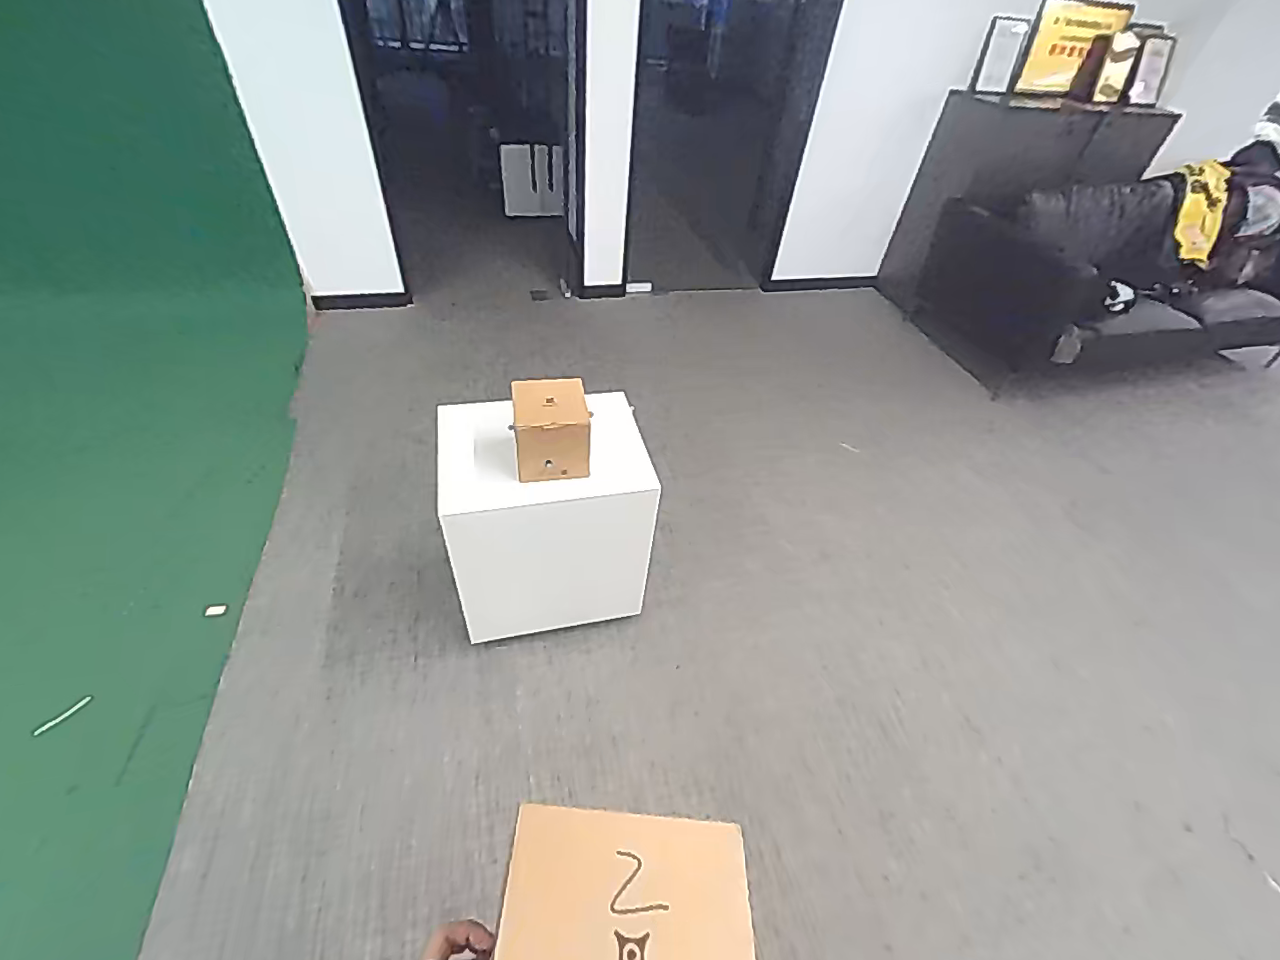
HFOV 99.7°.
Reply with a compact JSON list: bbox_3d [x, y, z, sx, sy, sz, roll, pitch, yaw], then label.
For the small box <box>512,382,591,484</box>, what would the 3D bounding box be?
[{"bbox_3d":[-0.211,-0.112,1.272,0.168,0.176,0.179,-5,44,-12],"label":"small box"}]
